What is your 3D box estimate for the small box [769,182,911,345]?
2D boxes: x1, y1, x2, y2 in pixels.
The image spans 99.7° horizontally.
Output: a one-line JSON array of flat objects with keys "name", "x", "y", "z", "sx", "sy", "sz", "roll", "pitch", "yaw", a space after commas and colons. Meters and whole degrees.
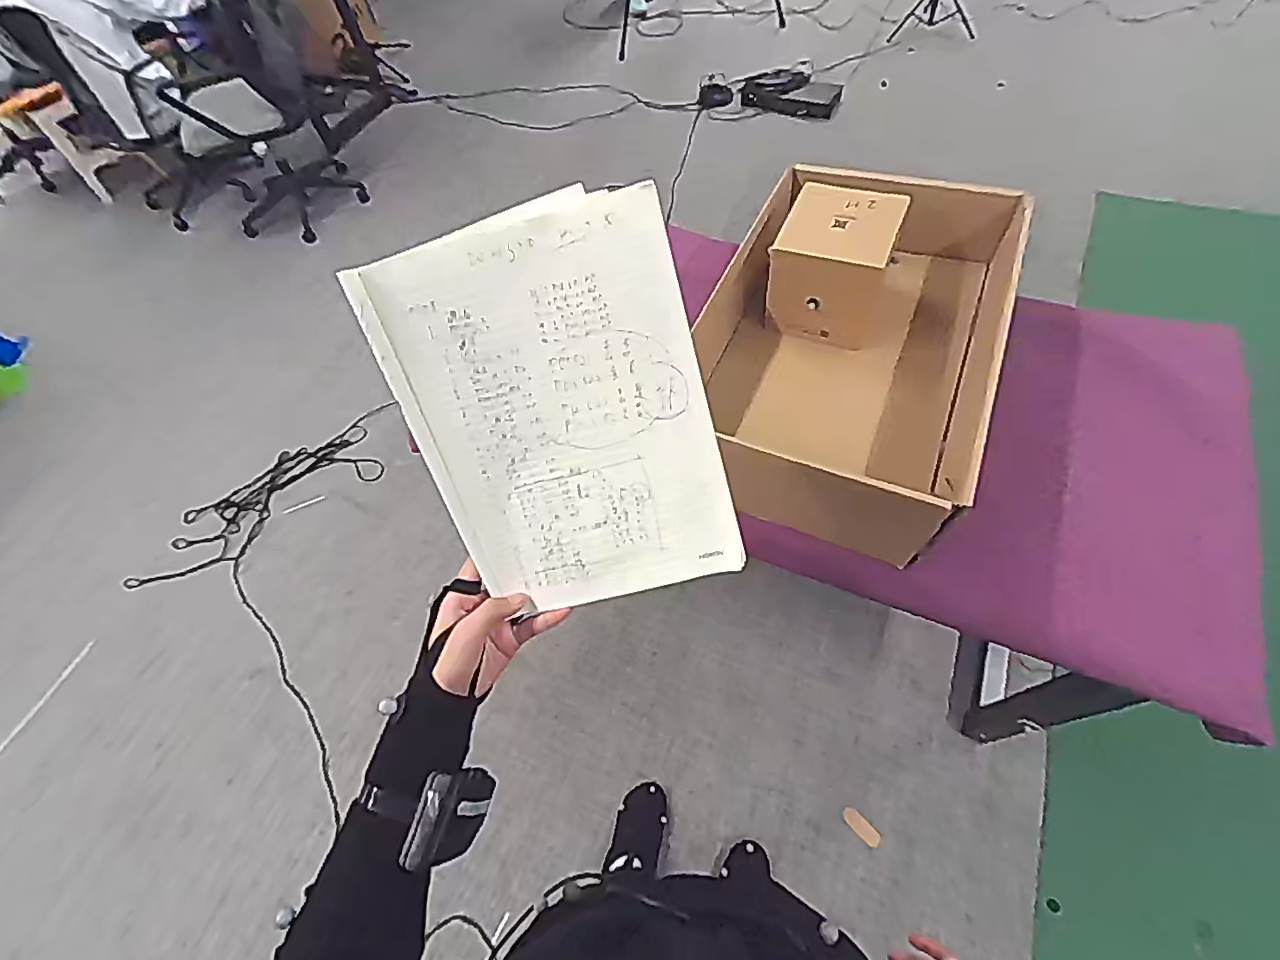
[{"name": "small box", "x": 0.319, "y": -0.351, "z": 0.890, "sx": 0.168, "sy": 0.176, "sz": 0.179, "roll": 20, "pitch": 65, "yaw": 19}]
